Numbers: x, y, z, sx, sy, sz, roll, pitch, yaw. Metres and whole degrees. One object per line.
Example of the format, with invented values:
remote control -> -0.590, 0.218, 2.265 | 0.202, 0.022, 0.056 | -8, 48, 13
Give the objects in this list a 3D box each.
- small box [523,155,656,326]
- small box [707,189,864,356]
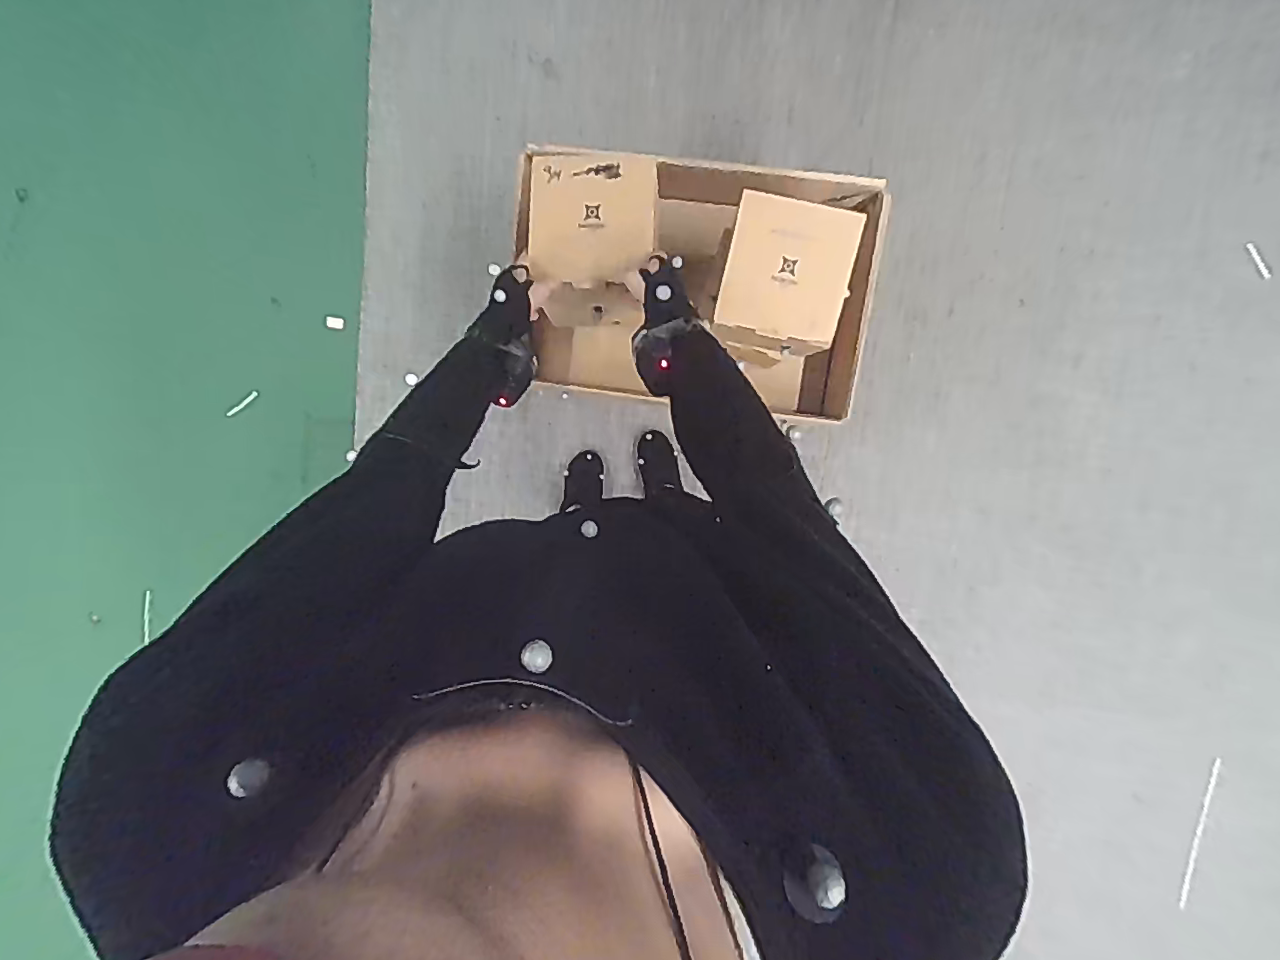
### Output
small box -> -0.063, -0.330, 0.775 | 0.168, 0.176, 0.179 | 2, 87, 3
small box -> 0.196, -0.286, 0.787 | 0.168, 0.176, 0.179 | 13, 99, 1
